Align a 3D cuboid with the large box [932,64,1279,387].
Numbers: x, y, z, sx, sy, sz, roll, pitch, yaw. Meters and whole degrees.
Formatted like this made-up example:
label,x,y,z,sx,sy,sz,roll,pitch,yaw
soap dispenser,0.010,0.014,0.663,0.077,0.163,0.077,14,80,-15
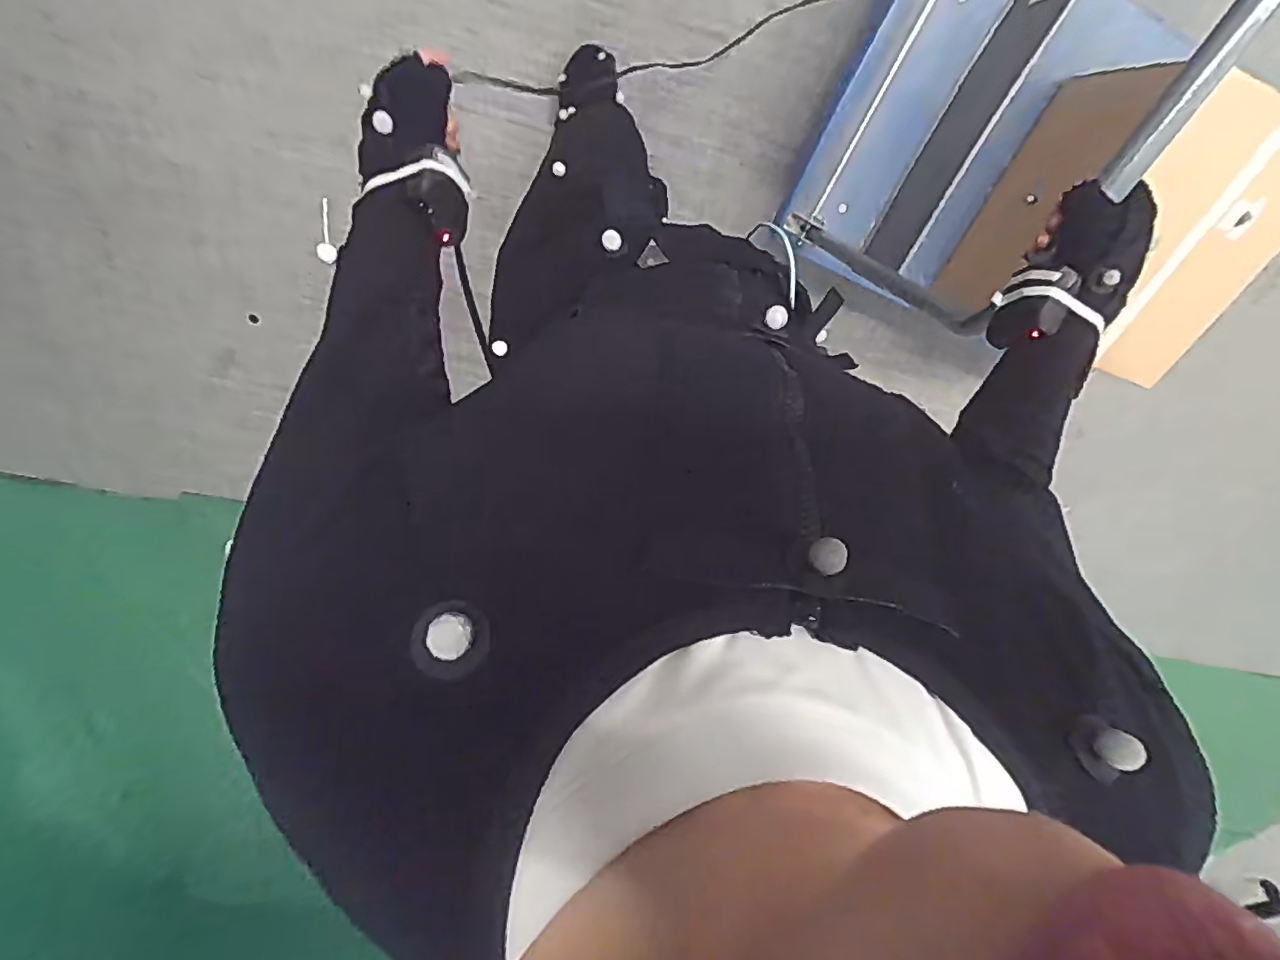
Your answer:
label,x,y,z,sx,sy,sz,roll,pitch,yaw
large box,0.837,-0.443,0.985,0.320,0.320,0.408,16,120,-11
